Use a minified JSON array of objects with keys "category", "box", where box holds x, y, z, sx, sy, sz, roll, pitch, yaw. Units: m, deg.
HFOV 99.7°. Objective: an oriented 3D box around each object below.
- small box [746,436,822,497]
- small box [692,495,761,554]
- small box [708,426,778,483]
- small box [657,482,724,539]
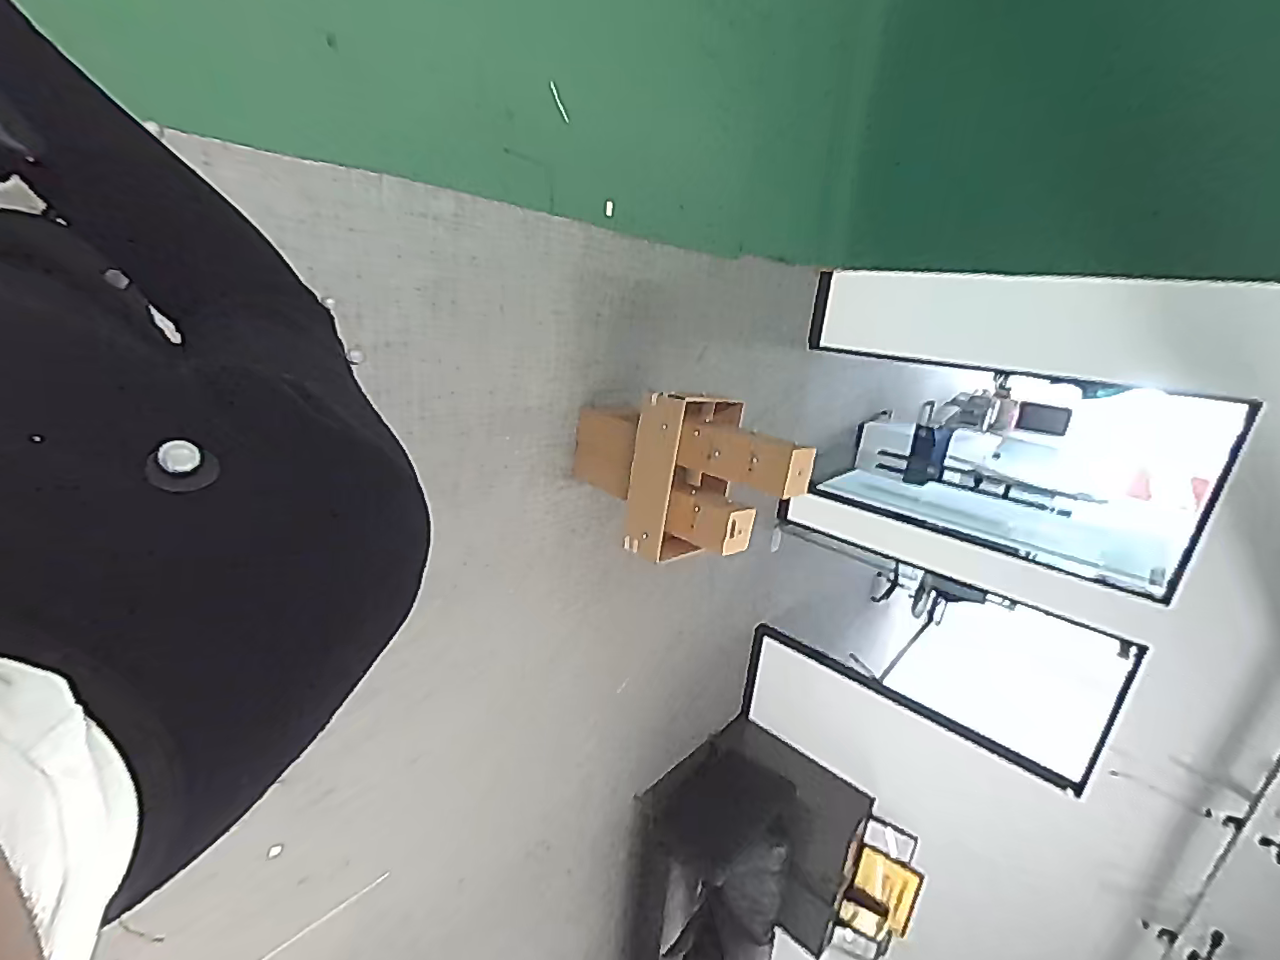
[{"category":"small box","box":[0.485,-0.051,1.823,0.179,0.176,0.168,-7,110,-47]},{"category":"small box","box":[0.313,0.158,1.978,0.179,0.176,0.168,-5,110,-48]},{"category":"small box","box":[0.367,-0.098,1.925,0.179,0.176,0.168,-8,112,-47]},{"category":"small box","box":[0.194,0.111,2.082,0.179,0.176,0.168,-6,110,-47]}]
